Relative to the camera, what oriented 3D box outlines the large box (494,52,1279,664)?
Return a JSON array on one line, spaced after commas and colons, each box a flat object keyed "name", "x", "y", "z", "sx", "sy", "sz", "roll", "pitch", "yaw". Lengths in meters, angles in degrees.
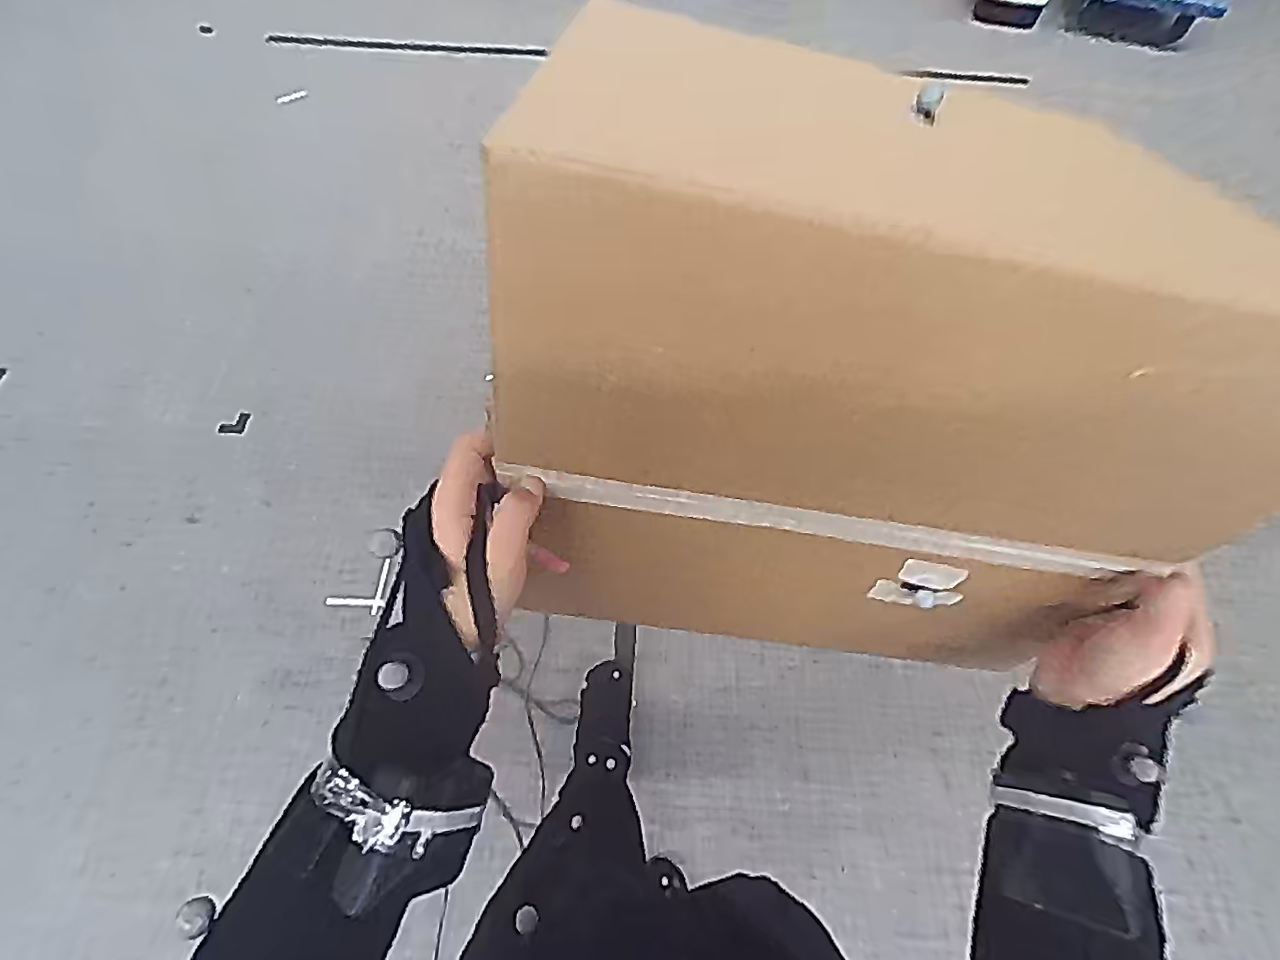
[{"name": "large box", "x": 0.122, "y": -0.084, "z": 0.424, "sx": 0.408, "sy": 0.320, "sz": 0.320, "roll": 8, "pitch": 48, "yaw": -6}]
